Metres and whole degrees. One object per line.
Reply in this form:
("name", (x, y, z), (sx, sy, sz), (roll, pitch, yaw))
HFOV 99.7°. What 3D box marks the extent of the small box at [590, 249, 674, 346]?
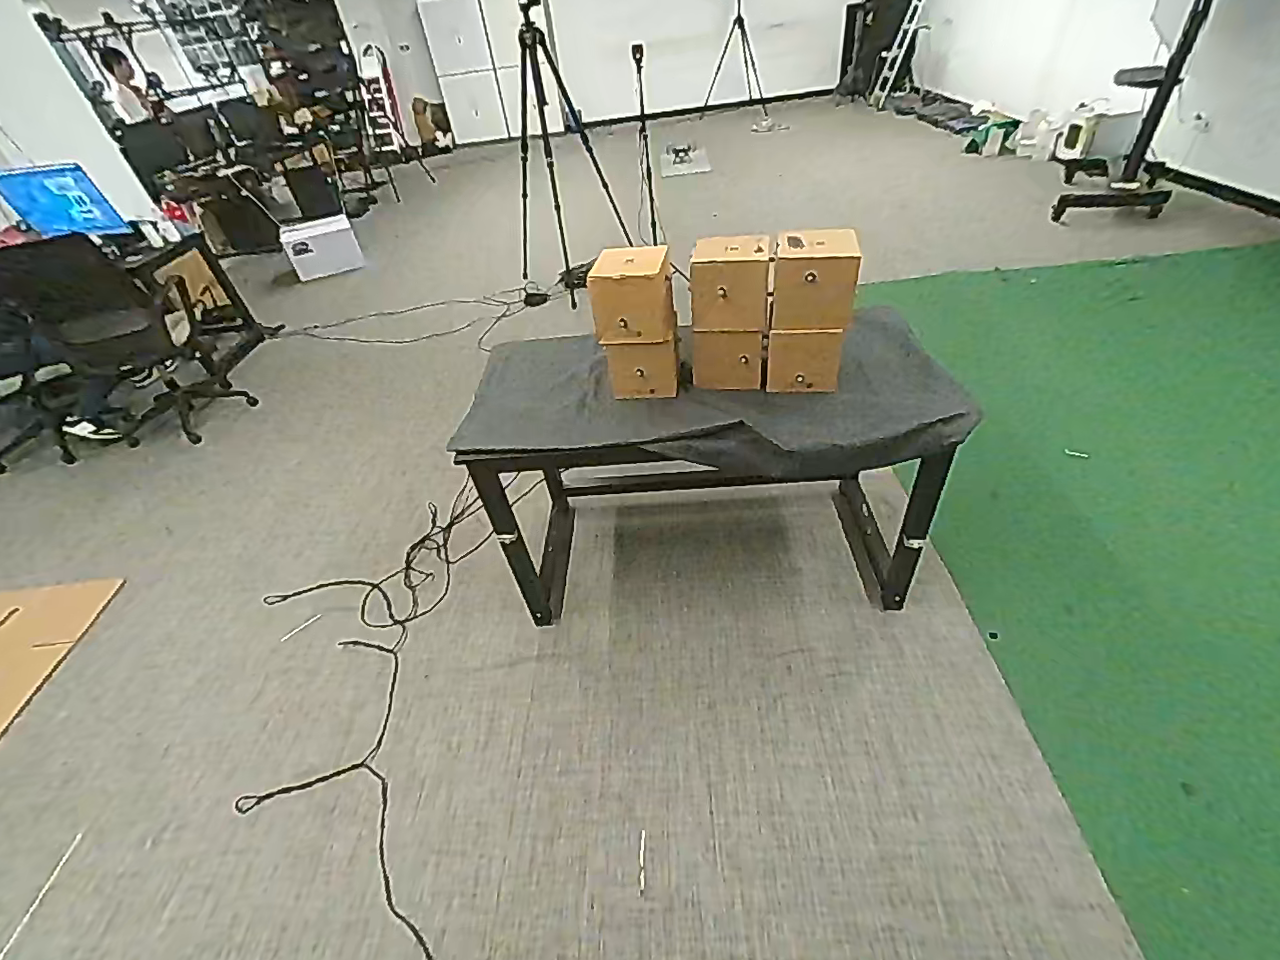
("small box", (-0.011, -0.445, 1.319), (0.168, 0.176, 0.179), (2, 44, 12))
